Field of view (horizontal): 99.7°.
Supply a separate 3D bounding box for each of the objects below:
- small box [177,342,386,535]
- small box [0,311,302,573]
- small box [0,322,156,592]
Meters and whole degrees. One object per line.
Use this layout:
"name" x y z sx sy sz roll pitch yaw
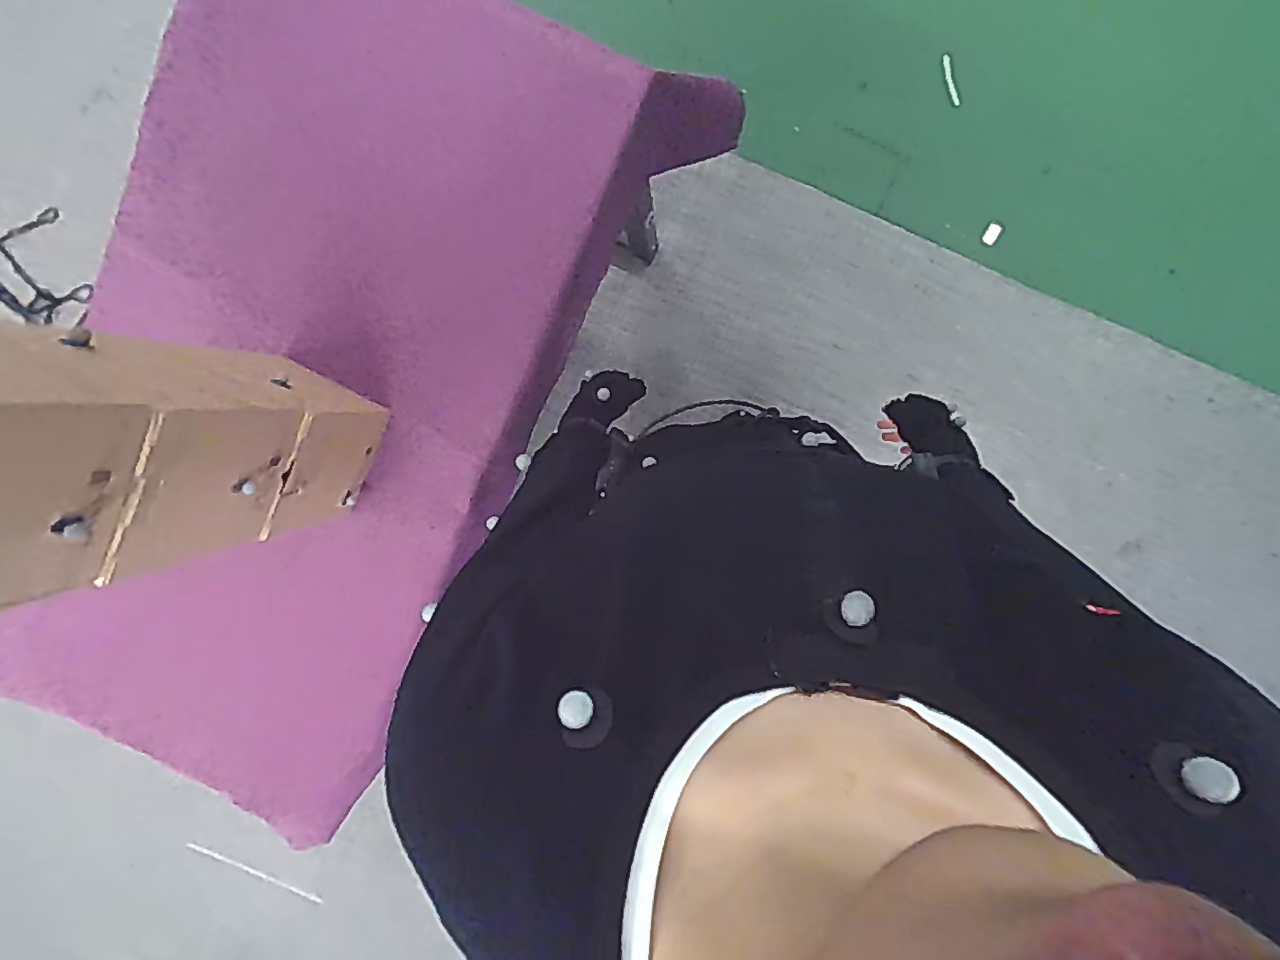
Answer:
"small box" -0.463 -0.055 0.686 0.179 0.176 0.168 27 98 1
"small box" -0.483 -0.038 0.524 0.179 0.176 0.168 26 99 0
"small box" -0.499 -0.020 0.363 0.179 0.176 0.168 26 99 1
